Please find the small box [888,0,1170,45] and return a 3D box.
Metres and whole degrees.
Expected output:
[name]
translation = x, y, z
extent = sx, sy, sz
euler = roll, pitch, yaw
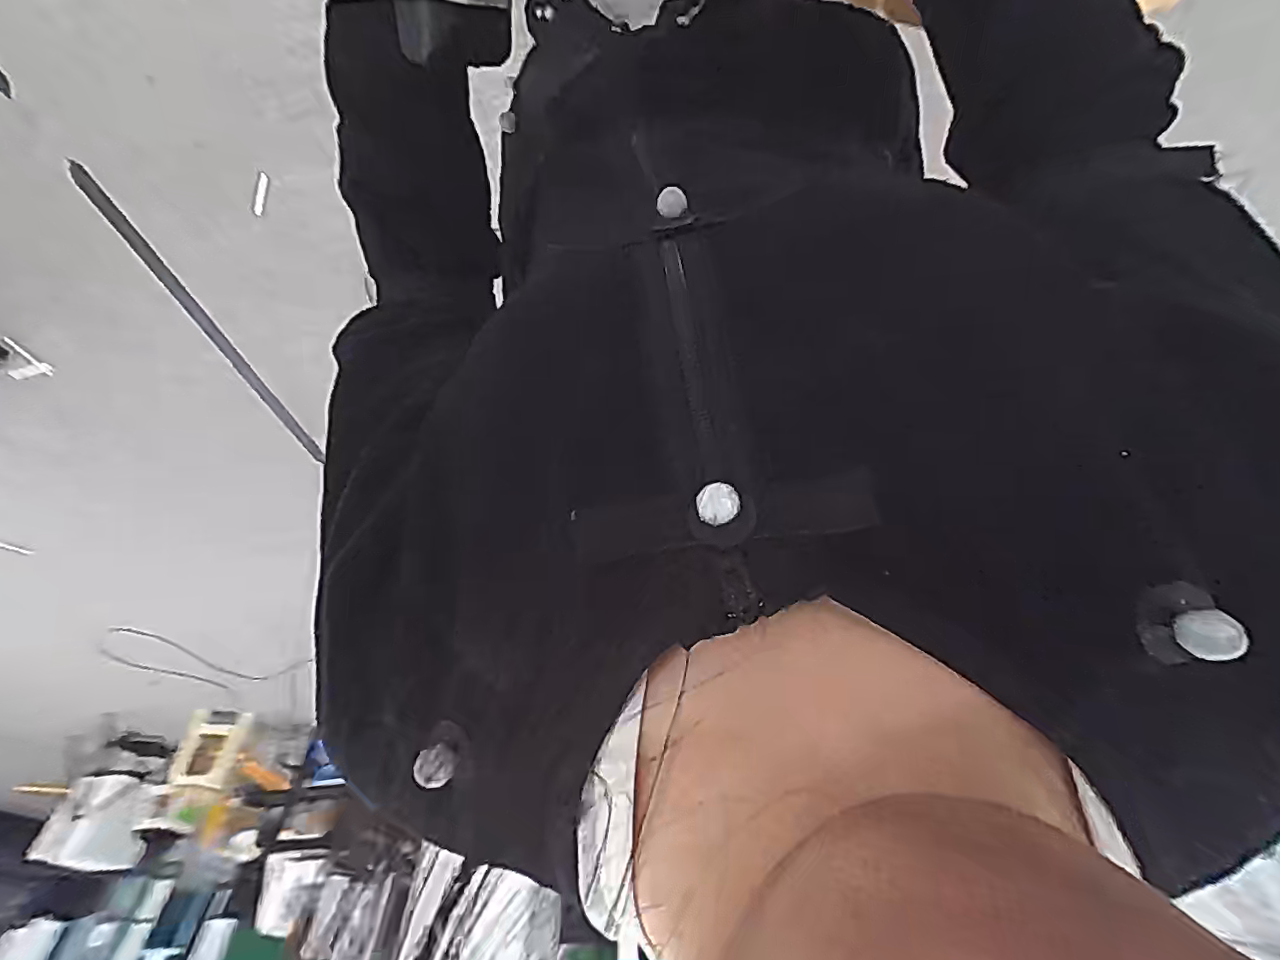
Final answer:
[small box]
translation = 0.324, -0.477, 0.441
extent = 0.179, 0.176, 0.168
euler = -4, 134, 6
